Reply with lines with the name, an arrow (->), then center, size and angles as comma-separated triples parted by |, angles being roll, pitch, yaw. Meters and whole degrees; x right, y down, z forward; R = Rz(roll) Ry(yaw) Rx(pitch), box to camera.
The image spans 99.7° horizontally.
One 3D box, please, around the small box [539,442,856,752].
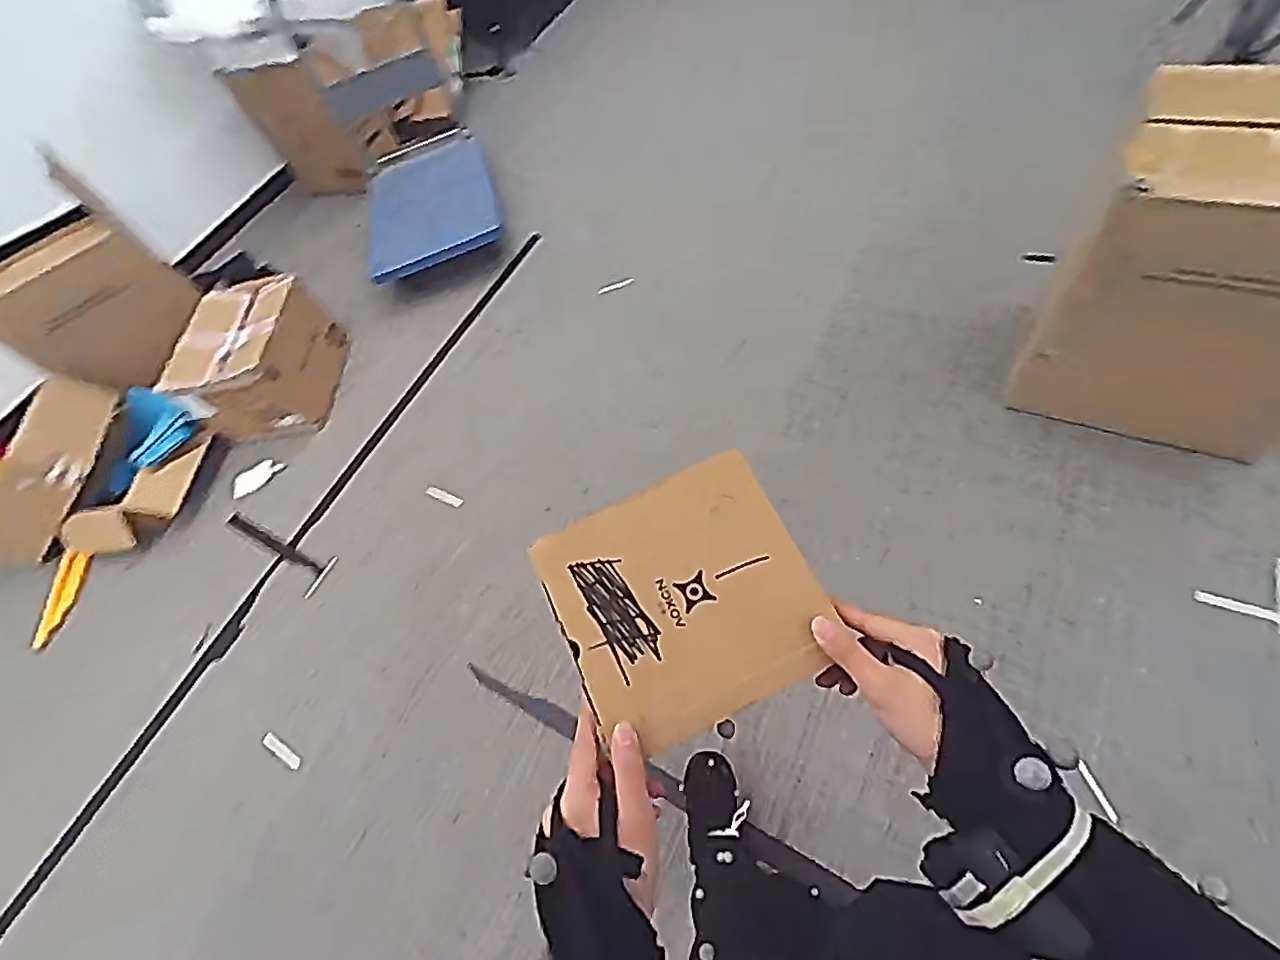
small box -> 0.042, 0.101, 0.449 | 0.179, 0.176, 0.168 | -24, 69, -3
